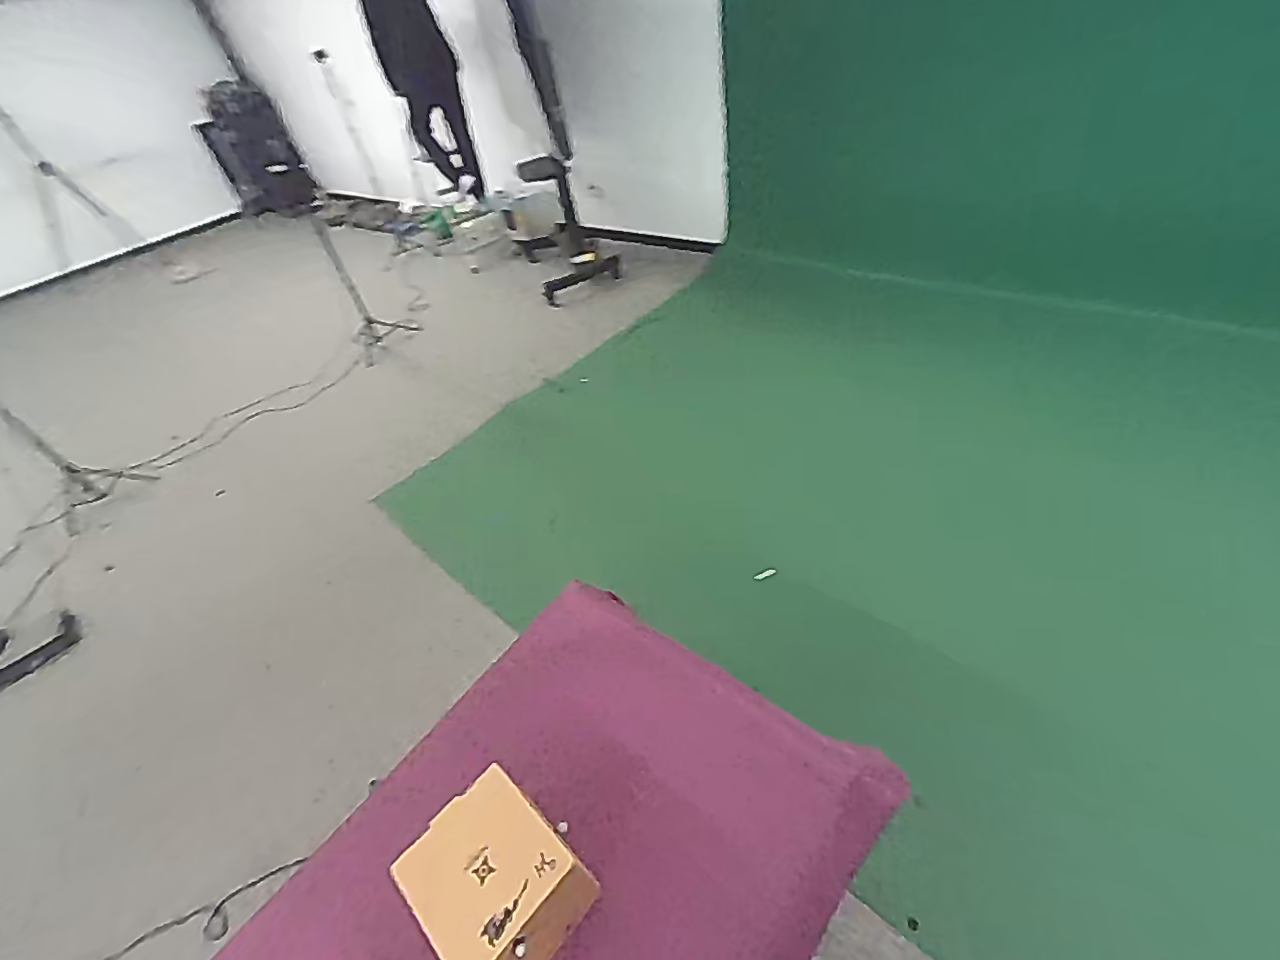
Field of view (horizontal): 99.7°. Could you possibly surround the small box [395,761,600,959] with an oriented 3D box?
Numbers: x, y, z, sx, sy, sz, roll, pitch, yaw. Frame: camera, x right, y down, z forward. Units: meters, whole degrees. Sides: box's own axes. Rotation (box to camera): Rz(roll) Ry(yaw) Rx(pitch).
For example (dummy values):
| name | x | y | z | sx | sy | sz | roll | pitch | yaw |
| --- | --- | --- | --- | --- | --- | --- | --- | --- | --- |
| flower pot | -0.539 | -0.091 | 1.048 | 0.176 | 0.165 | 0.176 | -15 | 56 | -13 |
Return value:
| name | x | y | z | sx | sy | sz | roll | pitch | yaw |
| --- | --- | --- | --- | --- | --- | --- | --- | --- | --- |
| small box | -0.178 | 0.521 | 0.710 | 0.179 | 0.176 | 0.168 | 28 | 56 | 36 |
